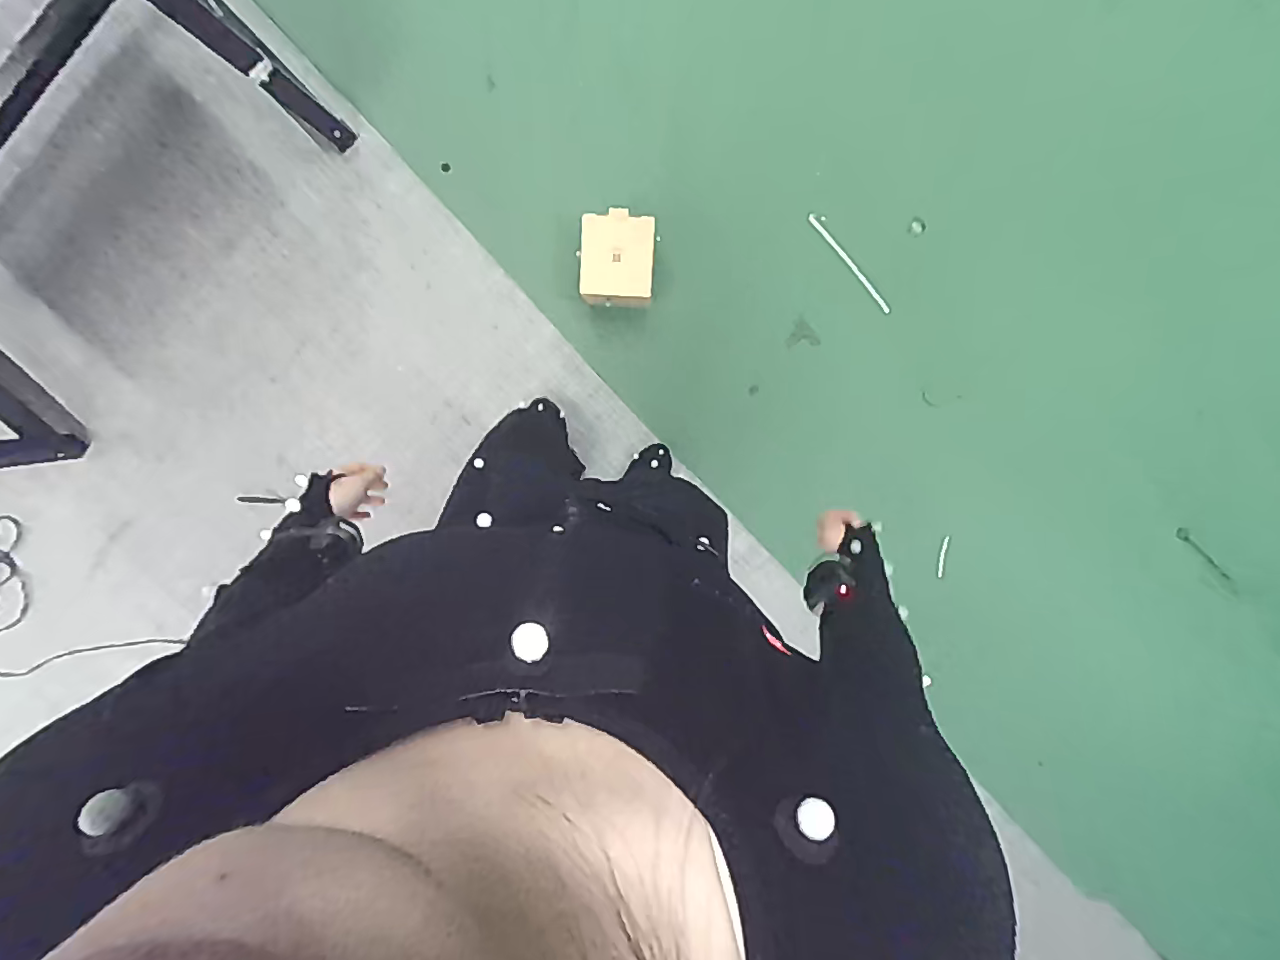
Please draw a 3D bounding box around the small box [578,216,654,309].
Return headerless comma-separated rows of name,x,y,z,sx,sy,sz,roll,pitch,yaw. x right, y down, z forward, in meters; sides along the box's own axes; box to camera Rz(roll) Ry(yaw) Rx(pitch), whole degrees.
small box,-0.052,-0.512,1.295,0.168,0.176,0.179,3,99,1
